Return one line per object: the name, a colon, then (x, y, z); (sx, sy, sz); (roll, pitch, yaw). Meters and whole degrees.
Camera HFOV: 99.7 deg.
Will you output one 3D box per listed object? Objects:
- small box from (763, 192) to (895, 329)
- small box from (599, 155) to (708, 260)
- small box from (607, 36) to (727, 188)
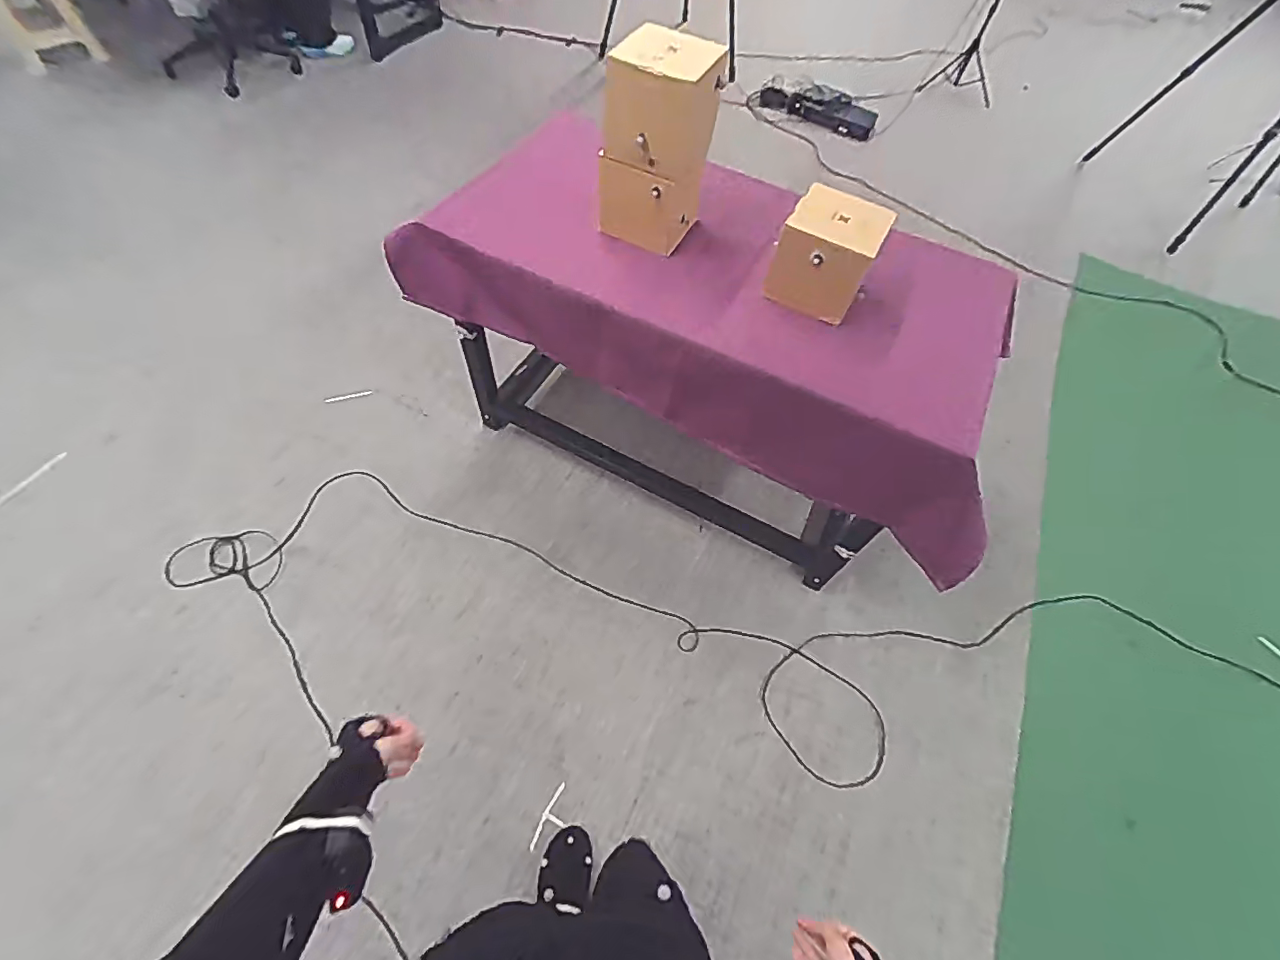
small box: (0.370, -0.435, 1.084); (0.179, 0.176, 0.168); (28, 60, 11)
small box: (0.022, -0.604, 1.161); (0.179, 0.176, 0.168); (25, 59, 9)
small box: (0.044, -0.692, 1.023); (0.168, 0.176, 0.179); (24, 59, 10)
